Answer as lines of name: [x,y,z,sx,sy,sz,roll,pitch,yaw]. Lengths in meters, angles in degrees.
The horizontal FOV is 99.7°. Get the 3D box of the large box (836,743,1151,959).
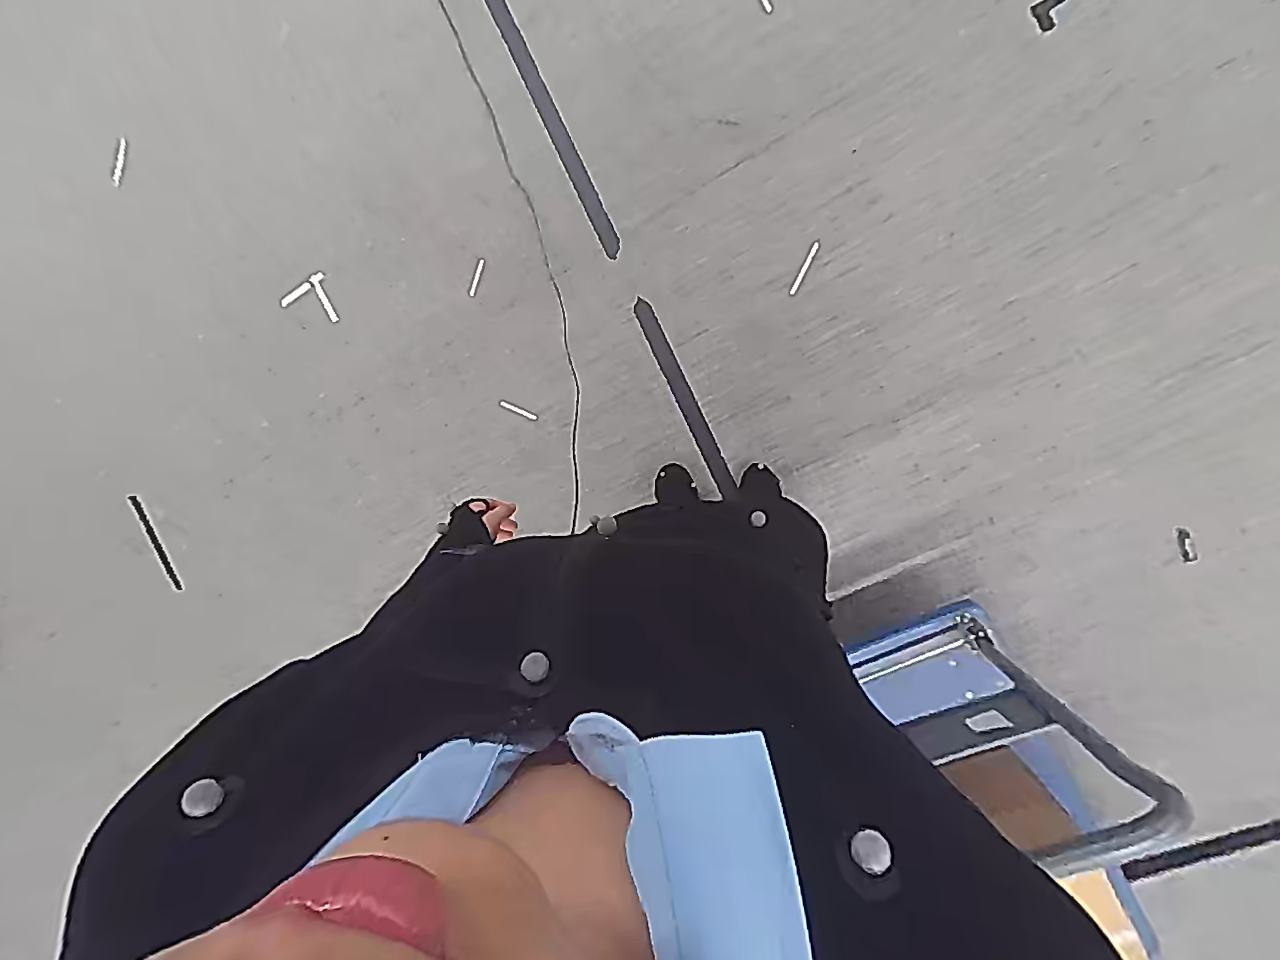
large box: [0.670,0.807,1.086,0.408,0.320,0.320,-26,90,11]
